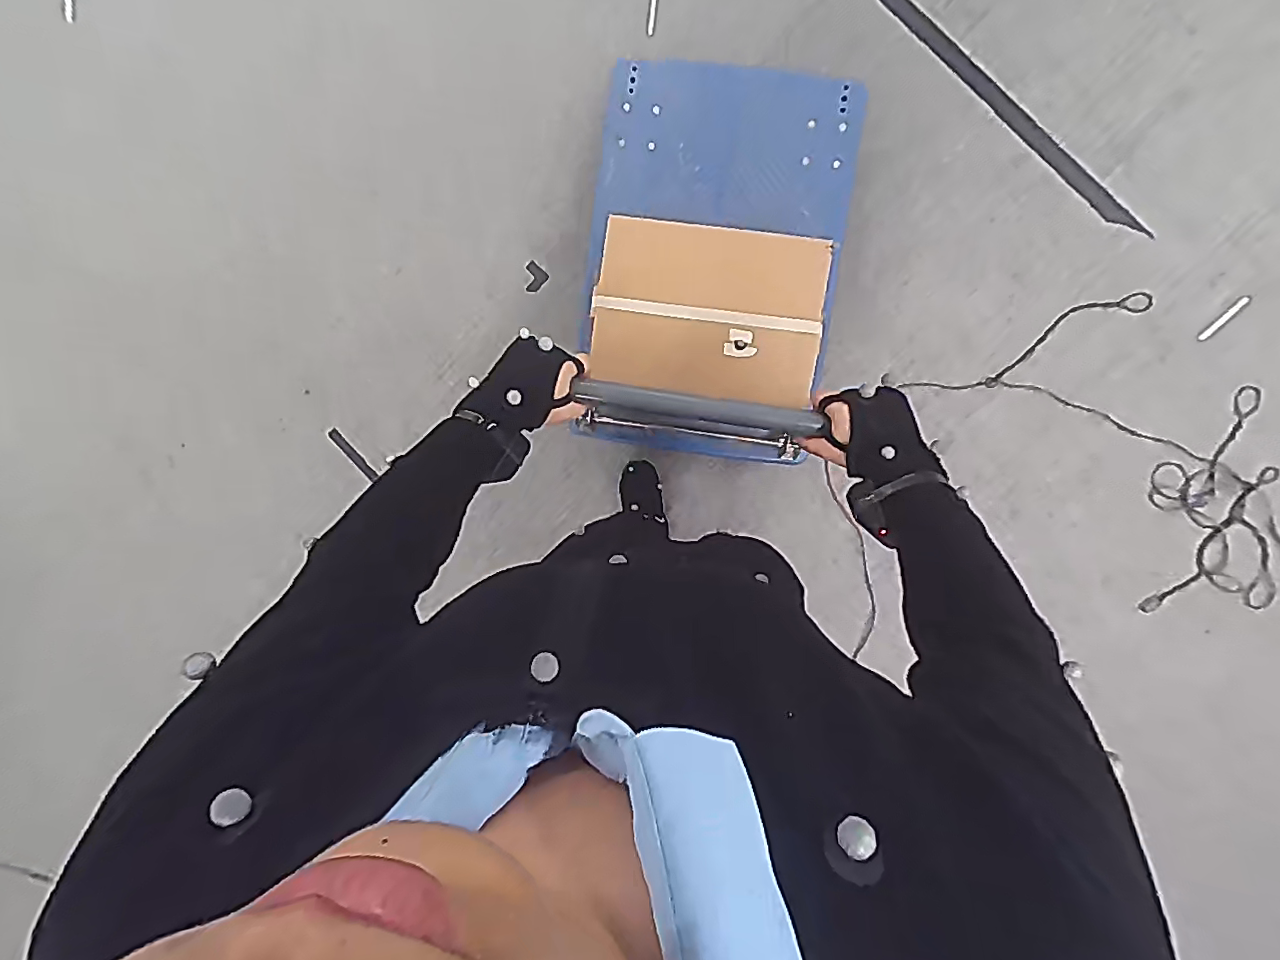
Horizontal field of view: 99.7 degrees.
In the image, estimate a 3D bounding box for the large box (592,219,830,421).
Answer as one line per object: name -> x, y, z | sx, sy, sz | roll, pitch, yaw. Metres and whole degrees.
large box -> 0.130, -0.305, 1.125 | 0.408, 0.320, 0.320 | 8, 94, 3
